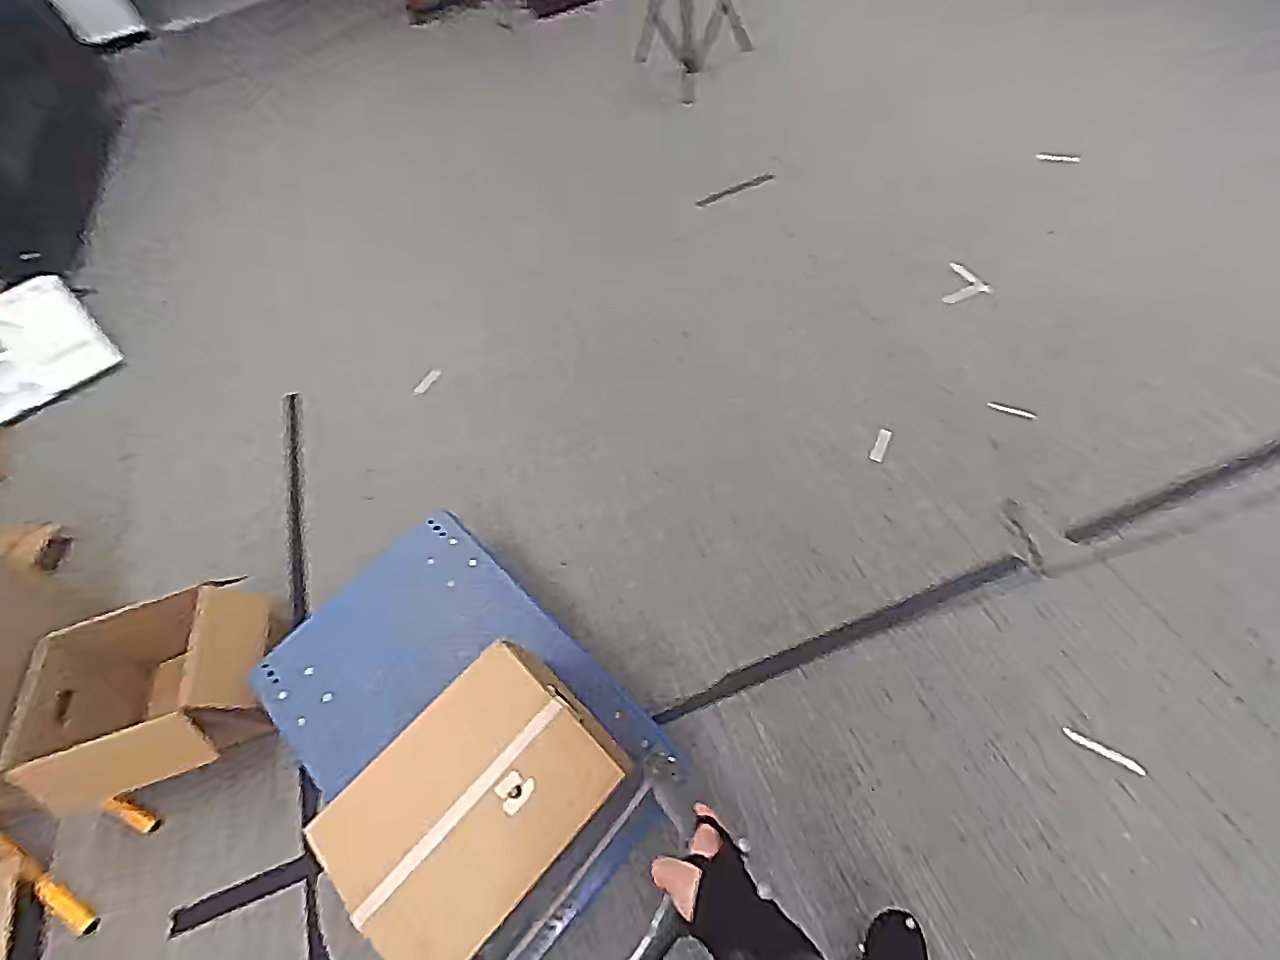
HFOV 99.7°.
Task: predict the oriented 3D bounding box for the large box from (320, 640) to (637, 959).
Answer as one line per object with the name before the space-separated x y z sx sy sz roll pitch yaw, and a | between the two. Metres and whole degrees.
large box | -0.254 0.573 0.984 0.320 0.320 0.408 39 72 19
